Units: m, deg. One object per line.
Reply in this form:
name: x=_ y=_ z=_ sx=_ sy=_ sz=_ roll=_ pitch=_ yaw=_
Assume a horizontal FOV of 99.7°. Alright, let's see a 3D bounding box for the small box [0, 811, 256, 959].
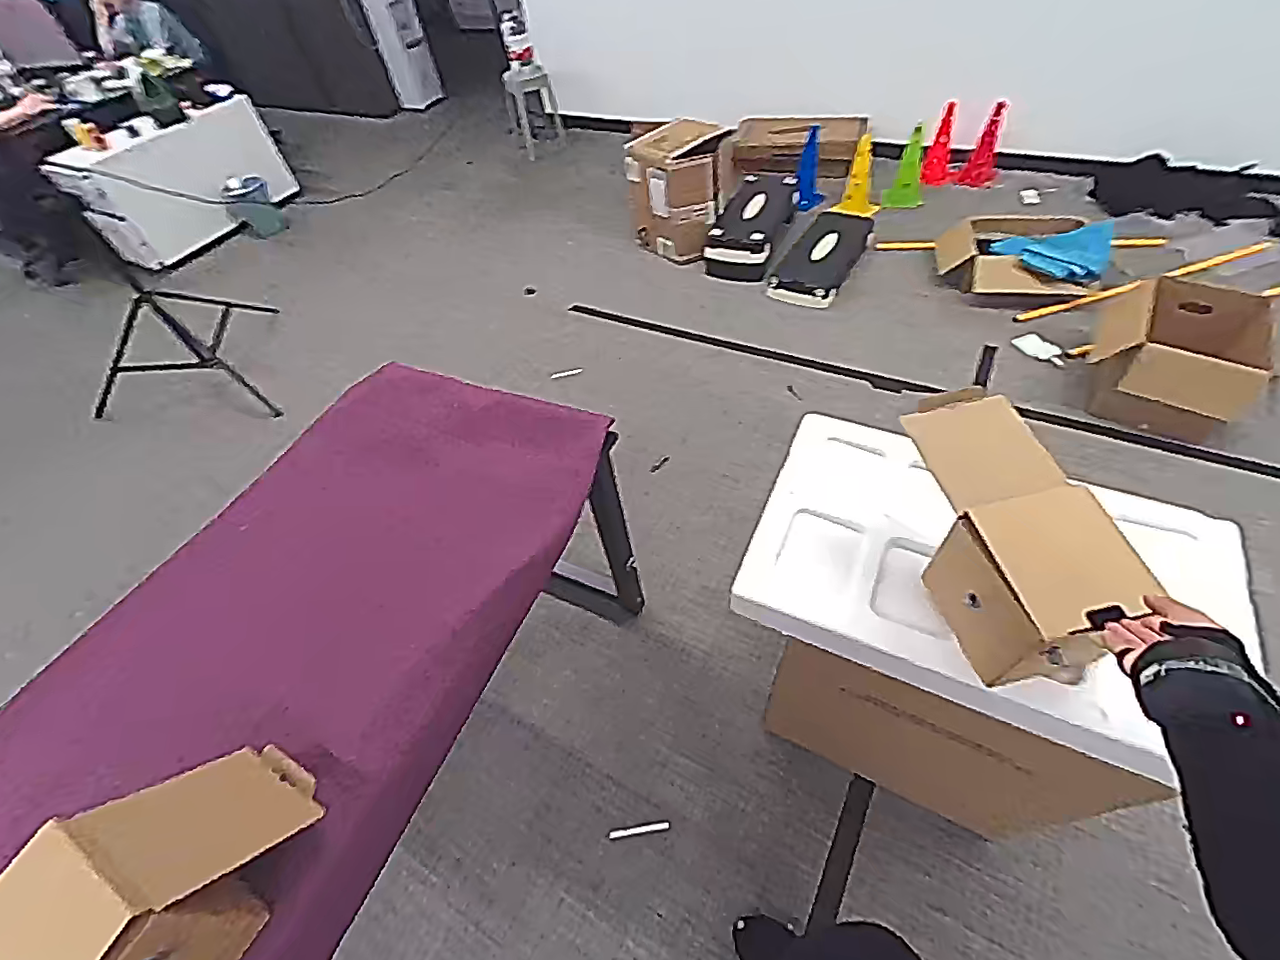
small box: x=-0.546 y=0.484 z=0.557 sx=0.168 sy=0.176 sz=0.179 roll=19 pitch=57 yaw=24
